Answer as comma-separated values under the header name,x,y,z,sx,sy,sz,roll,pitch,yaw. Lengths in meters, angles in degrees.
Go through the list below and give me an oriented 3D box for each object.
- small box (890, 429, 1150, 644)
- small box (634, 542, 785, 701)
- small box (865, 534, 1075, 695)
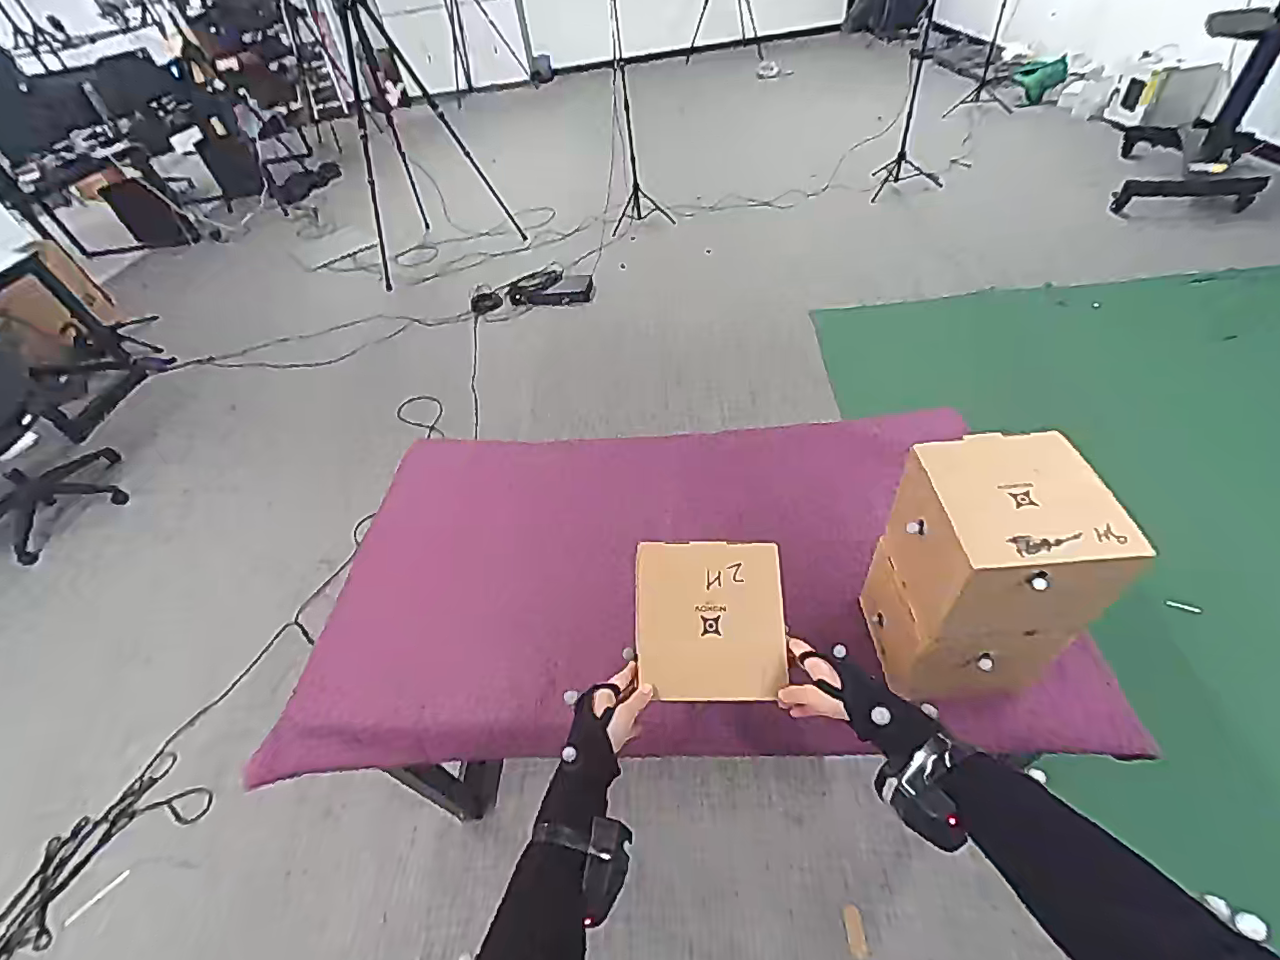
name,x,y,z,sx,sy,sz,roll,pitch,yaw
small box,0.407,0.067,0.625,0.168,0.176,0.179,-7,46,7
small box,0.078,0.183,0.693,0.168,0.176,0.179,1,70,-2
small box,0.429,0.180,0.743,0.179,0.176,0.168,-8,47,6
